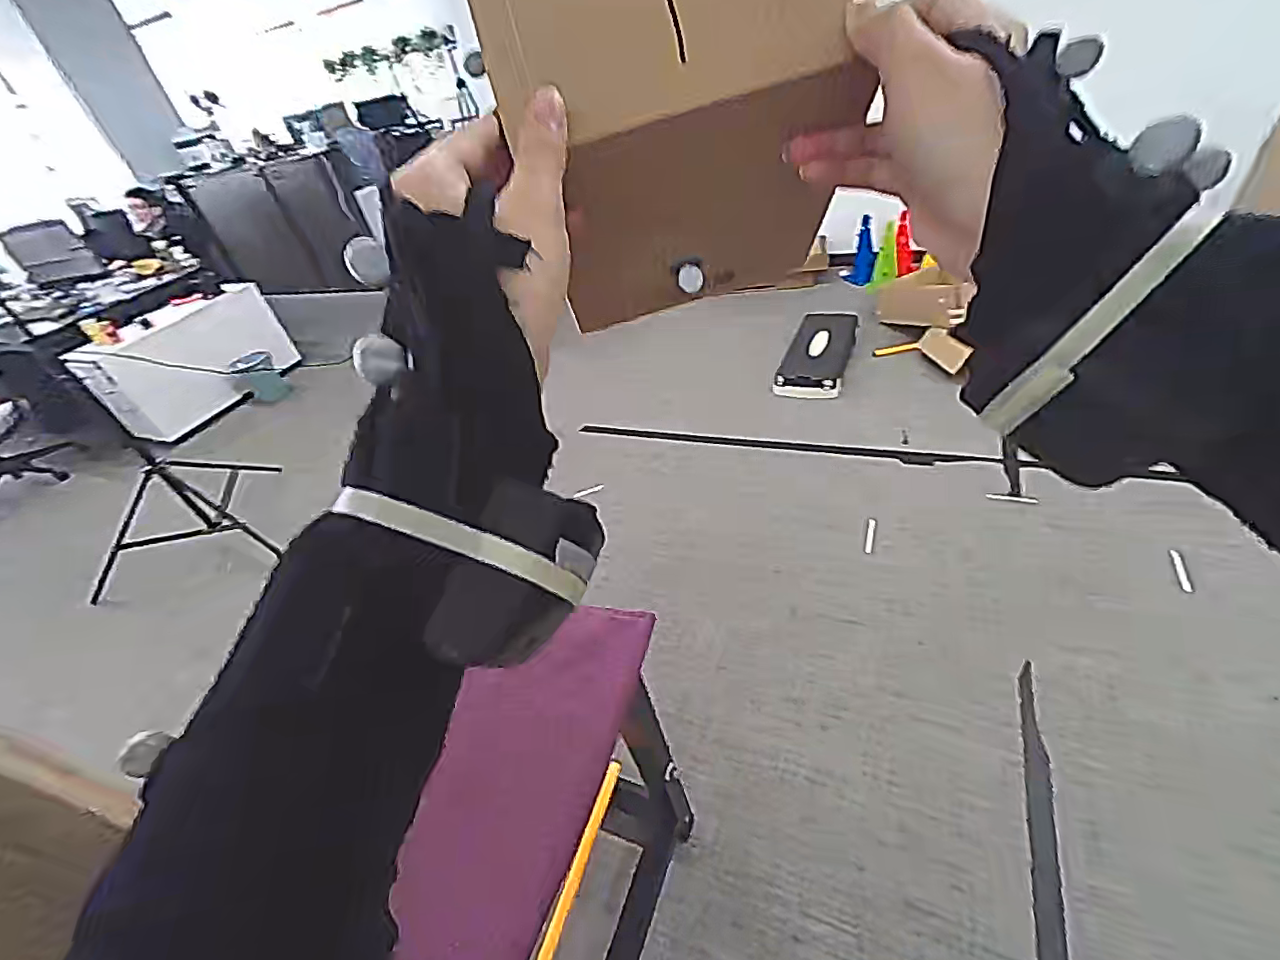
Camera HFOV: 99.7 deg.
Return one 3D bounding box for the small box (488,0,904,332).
[{"bbox_3d":[0.015,-0.218,0.320,0.168,0.176,0.179,-16,80,1],"label":"small box"}]
